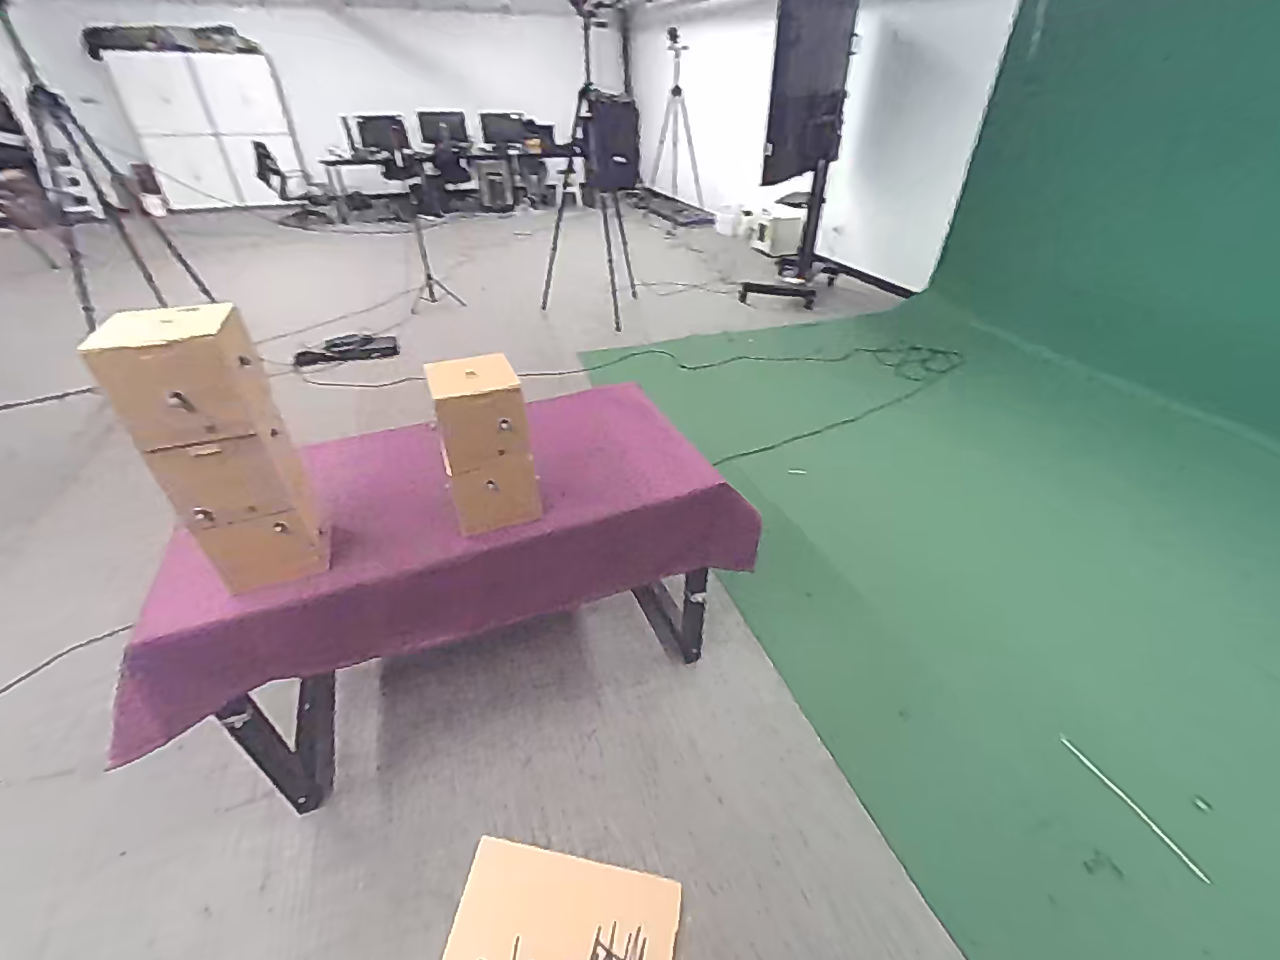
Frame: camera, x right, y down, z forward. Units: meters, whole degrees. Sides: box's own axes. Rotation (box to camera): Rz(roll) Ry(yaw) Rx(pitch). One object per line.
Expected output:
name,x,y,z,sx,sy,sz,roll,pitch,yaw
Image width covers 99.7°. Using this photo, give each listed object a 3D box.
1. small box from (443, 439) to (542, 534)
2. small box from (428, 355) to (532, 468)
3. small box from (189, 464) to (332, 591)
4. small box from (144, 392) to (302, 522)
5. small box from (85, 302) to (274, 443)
small box,-0.326,-0.001,1.204,0.179,0.176,0.168,-12,38,-17
small box,-0.328,-0.137,1.114,0.168,0.176,0.179,-13,37,-19
small box,-0.736,0.094,1.071,0.179,0.176,0.168,-13,37,-19
small box,-0.734,-0.040,0.977,0.168,0.176,0.179,-13,36,-19
small box,-0.724,-0.172,0.878,0.168,0.176,0.179,-12,38,-19
